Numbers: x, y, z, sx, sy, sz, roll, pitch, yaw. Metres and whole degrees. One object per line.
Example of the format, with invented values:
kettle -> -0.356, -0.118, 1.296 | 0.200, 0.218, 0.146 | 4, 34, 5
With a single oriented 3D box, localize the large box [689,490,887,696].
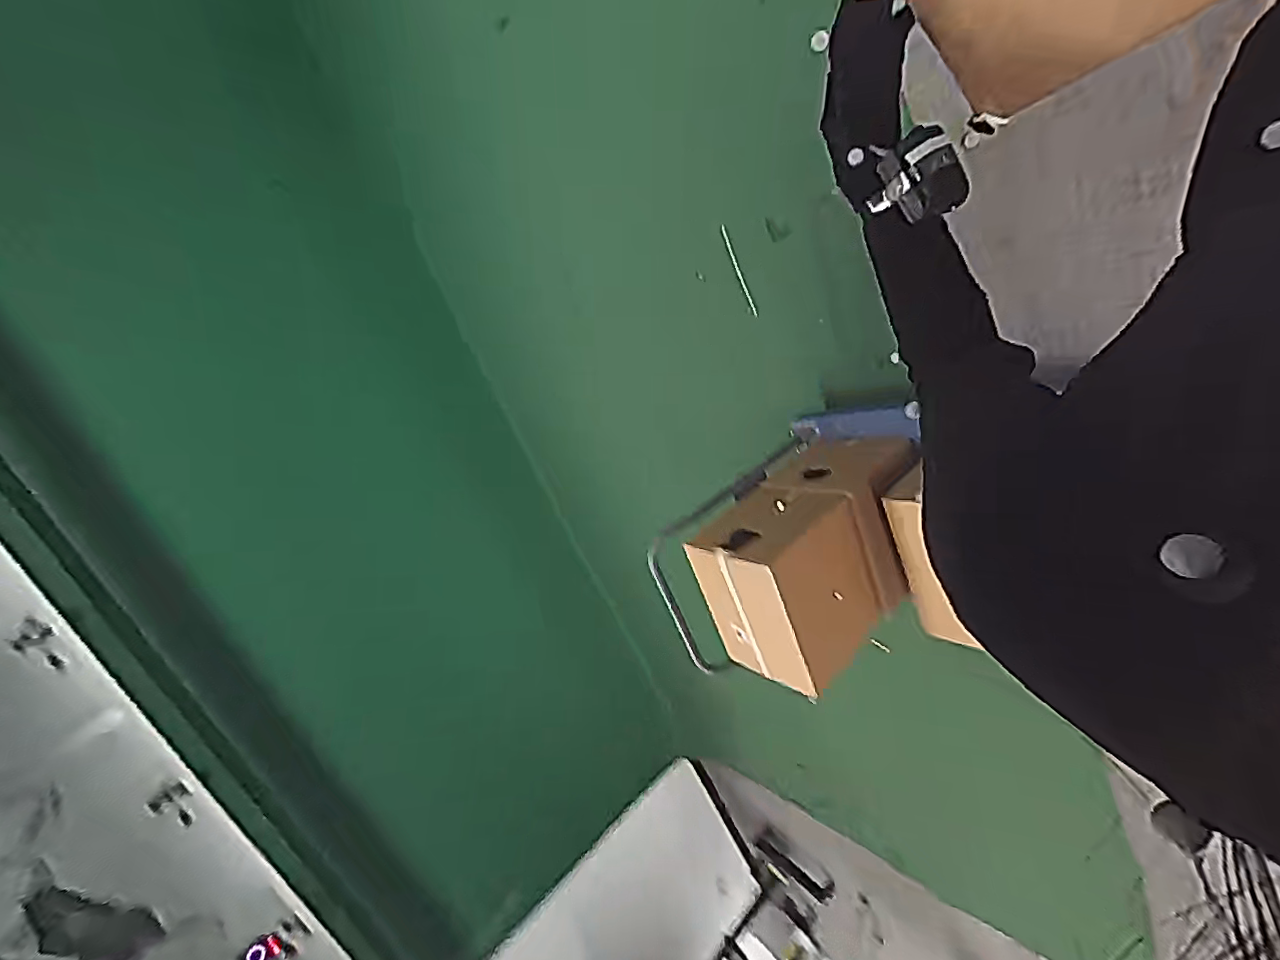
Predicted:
large box -> 0.399, 0.275, 1.444 | 0.320, 0.320, 0.408 | 6, 126, 57
